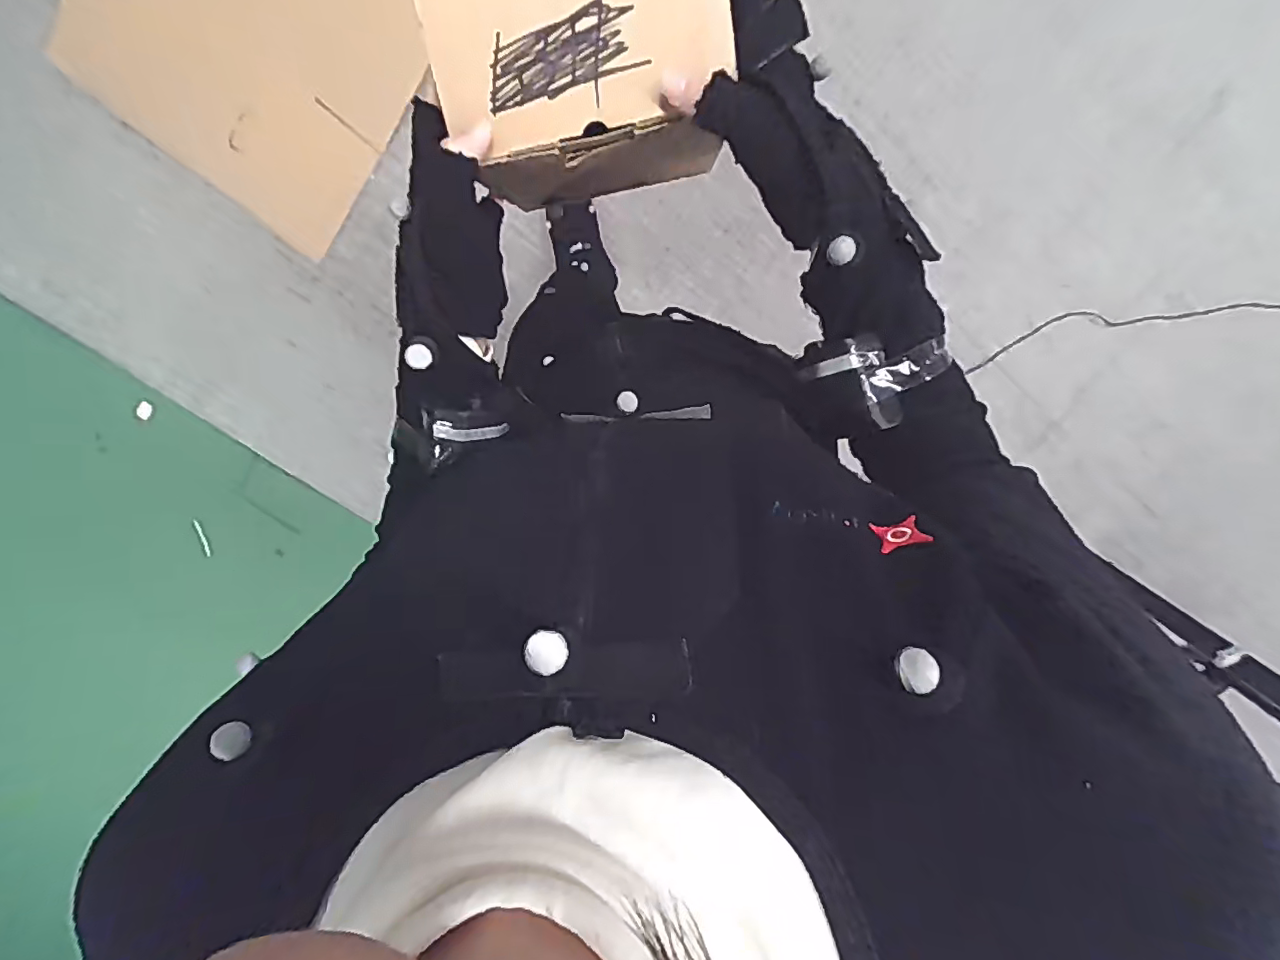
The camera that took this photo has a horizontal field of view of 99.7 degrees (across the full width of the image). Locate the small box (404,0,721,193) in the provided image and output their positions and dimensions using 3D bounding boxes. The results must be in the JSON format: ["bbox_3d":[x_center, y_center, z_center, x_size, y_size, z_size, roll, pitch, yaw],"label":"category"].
[{"bbox_3d":[-0.047,-0.308,0.360,0.168,0.176,0.179,-13,108,7],"label":"small box"}]
